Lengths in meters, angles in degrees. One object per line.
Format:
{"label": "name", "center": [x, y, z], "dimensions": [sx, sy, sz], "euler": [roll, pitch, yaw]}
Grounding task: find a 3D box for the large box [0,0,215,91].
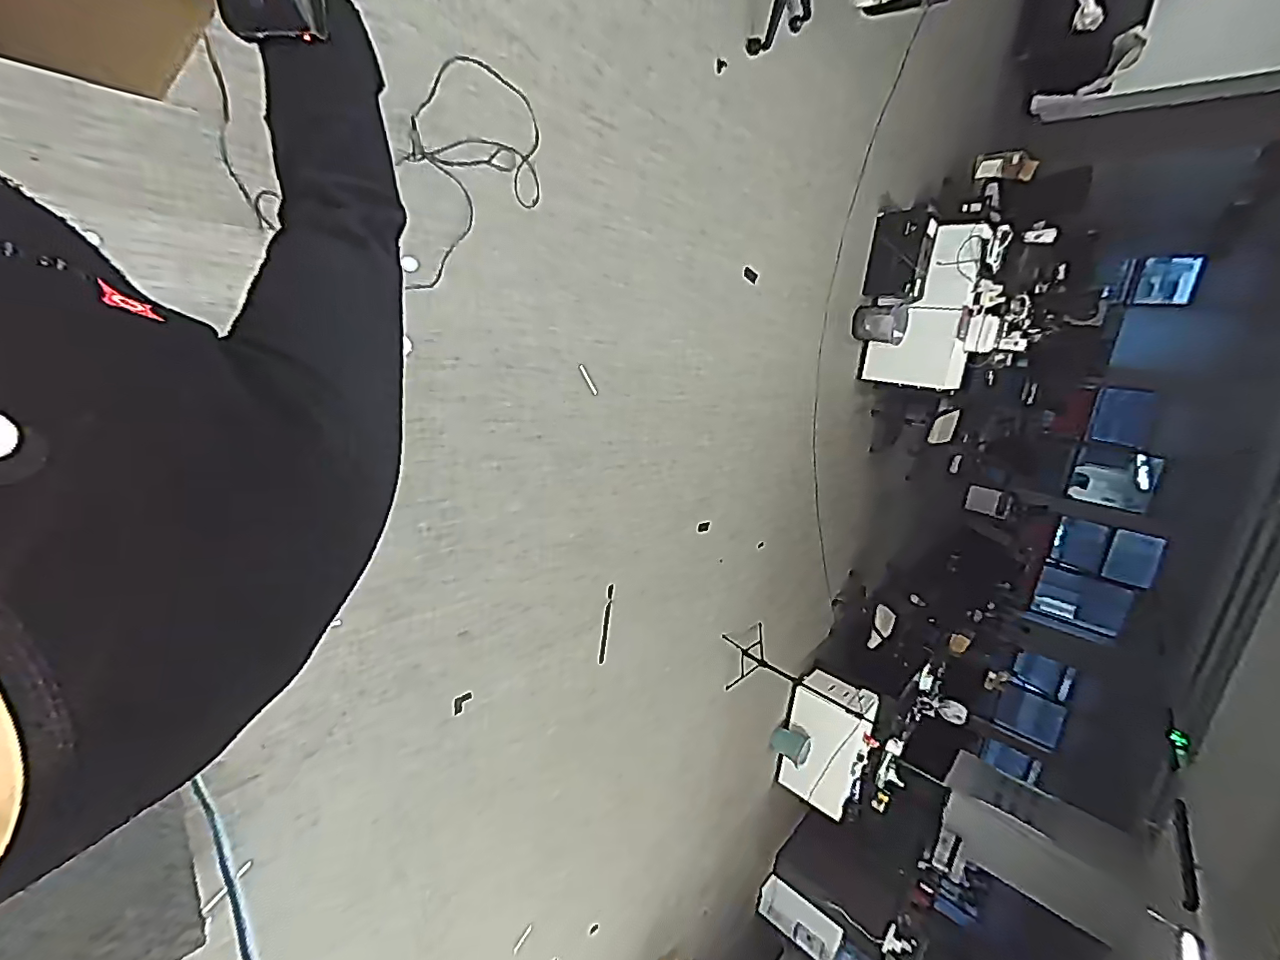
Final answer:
{"label": "large box", "center": [-0.502, -0.479, 0.273], "dimensions": [0.408, 0.320, 0.320], "euler": [-13, 110, -47]}
